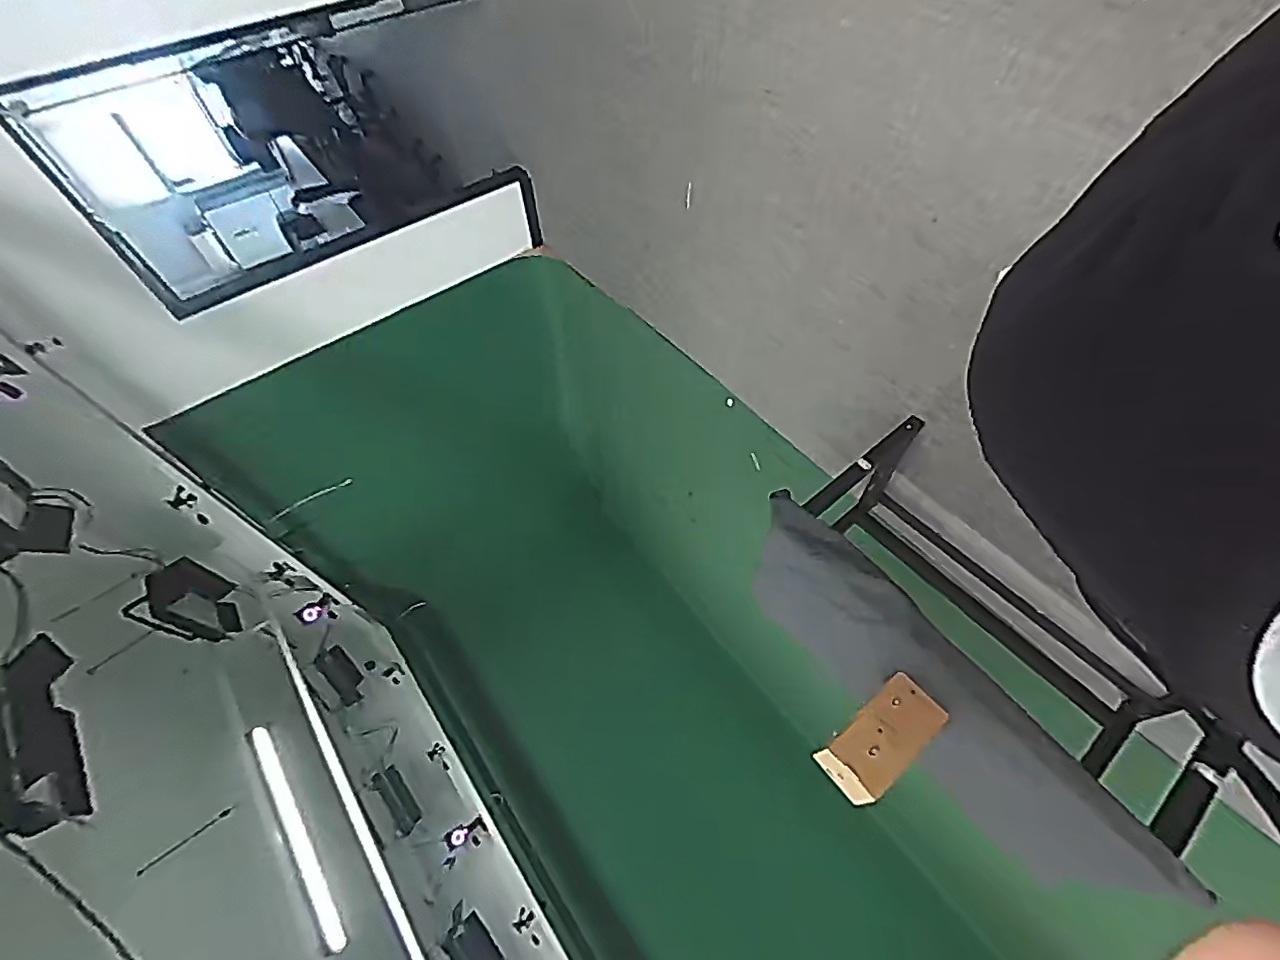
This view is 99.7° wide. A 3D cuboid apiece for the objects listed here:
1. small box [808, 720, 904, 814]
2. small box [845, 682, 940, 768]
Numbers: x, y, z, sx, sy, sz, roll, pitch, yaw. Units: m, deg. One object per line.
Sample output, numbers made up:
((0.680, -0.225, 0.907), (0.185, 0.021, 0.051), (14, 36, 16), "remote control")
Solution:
((0.618, 0.816, 1.544), (0.168, 0.176, 0.179), (48, 157, 27), "small box")
((0.746, 0.728, 1.596), (0.168, 0.176, 0.179), (47, 159, 28), "small box")
